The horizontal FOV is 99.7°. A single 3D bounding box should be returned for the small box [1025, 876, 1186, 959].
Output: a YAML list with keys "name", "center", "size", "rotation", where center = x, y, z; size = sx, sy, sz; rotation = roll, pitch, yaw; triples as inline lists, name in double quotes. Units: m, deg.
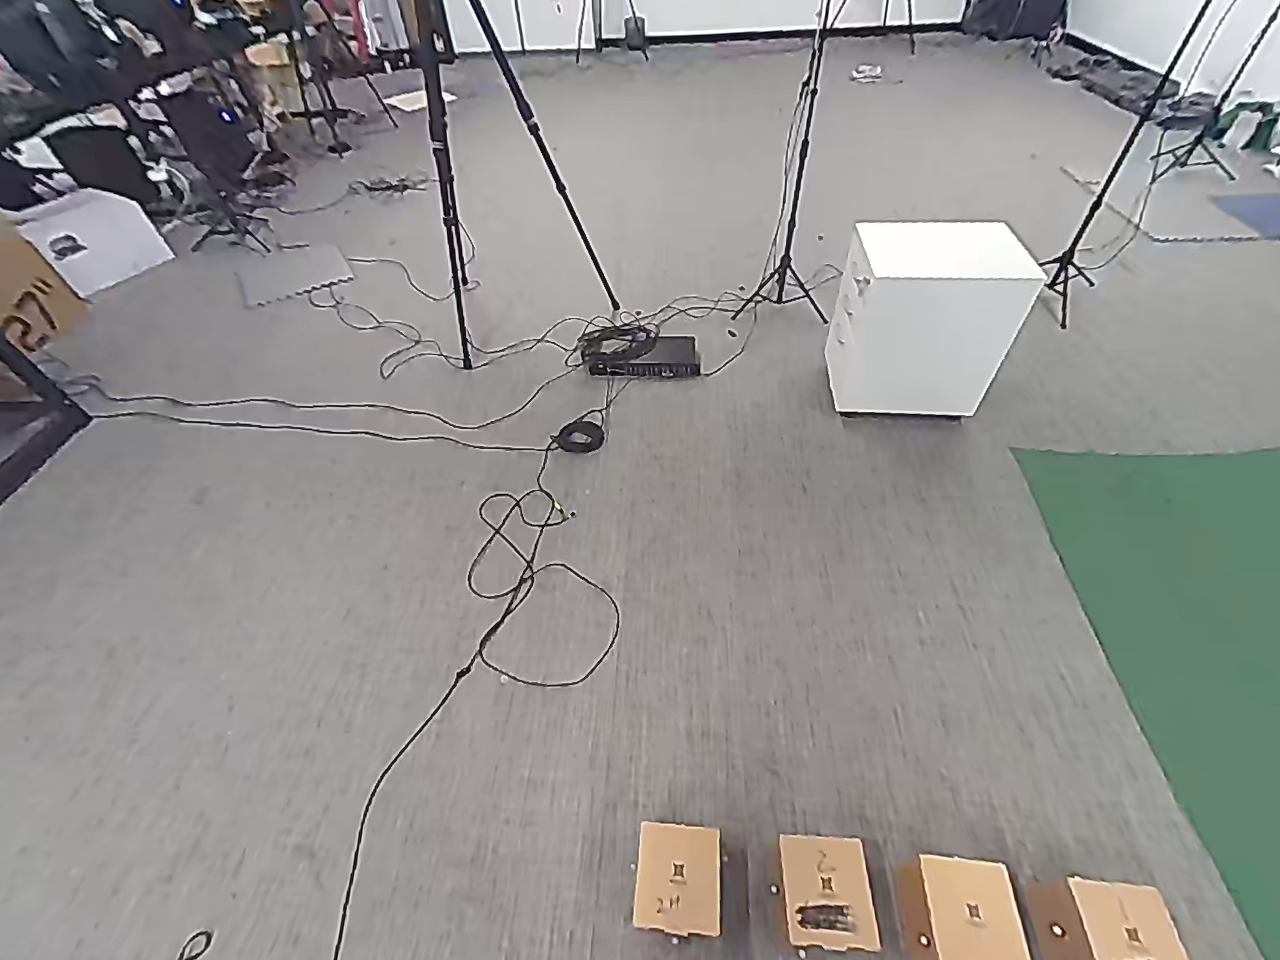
- name: "small box"
  center: [0.888, 0.882, 1.034]
  size: [0.168, 0.176, 0.179]
  rotation: [3, 48, 5]

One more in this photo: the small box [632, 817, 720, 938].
- name: "small box"
  center: [0.077, 0.826, 1.123]
  size: [0.168, 0.176, 0.179]
  rotation: [2, 49, 6]

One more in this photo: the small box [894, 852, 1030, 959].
- name: "small box"
  center: [0.622, 0.860, 1.067]
  size: [0.168, 0.176, 0.179]
  rotation: [3, 49, 5]
